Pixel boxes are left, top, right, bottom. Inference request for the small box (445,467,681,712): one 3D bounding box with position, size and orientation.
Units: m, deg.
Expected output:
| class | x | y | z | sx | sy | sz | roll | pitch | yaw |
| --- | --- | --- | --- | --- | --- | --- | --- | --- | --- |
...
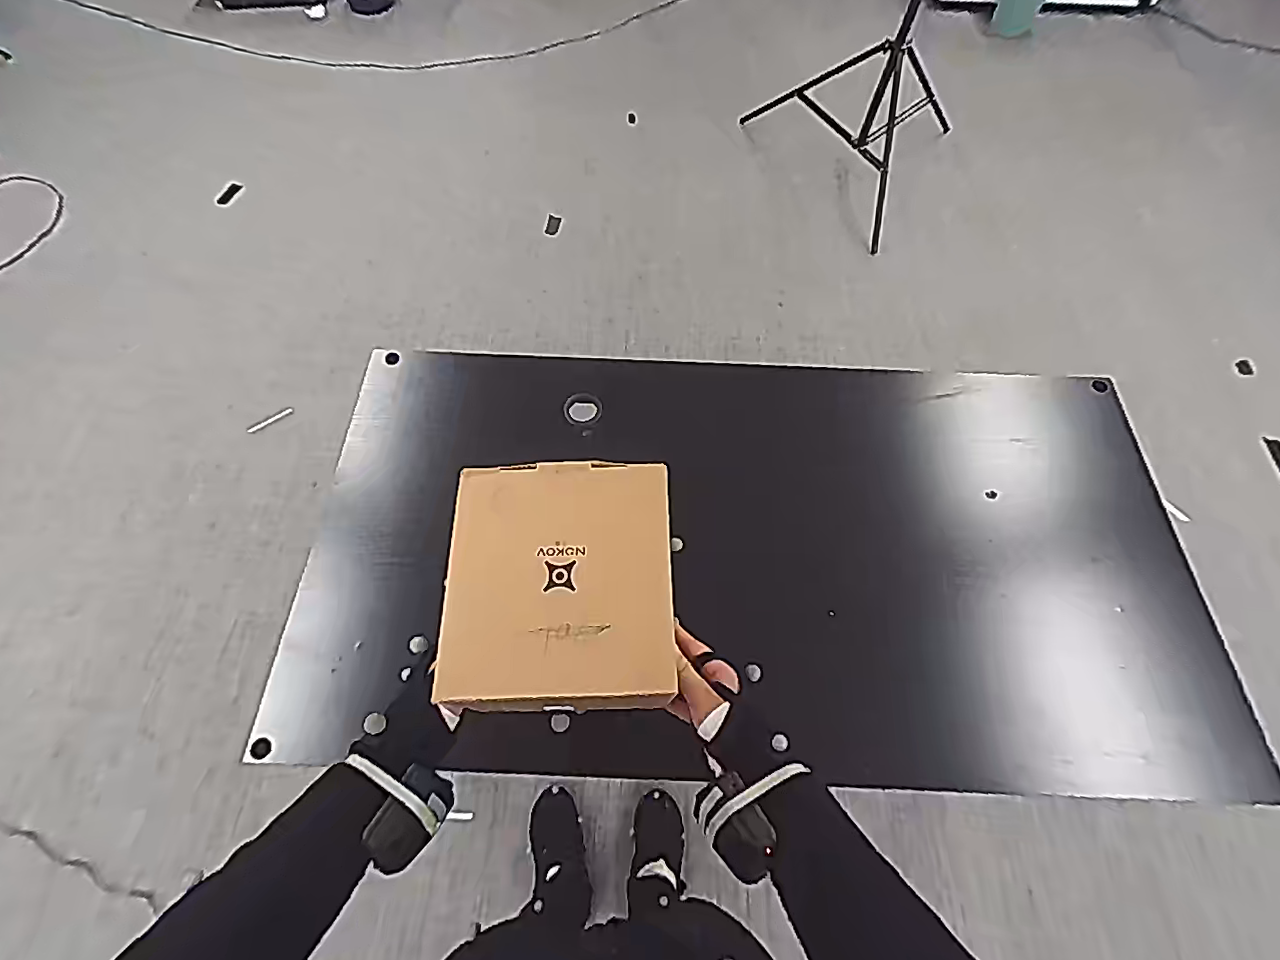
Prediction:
| class | x | y | z | sx | sy | sz | roll | pitch | yaw |
| --- | --- | --- | --- | --- | --- | --- | --- | --- | --- |
| small box | -0.056 | 0.104 | 0.479 | 0.168 | 0.176 | 0.179 | -3 | 65 | -1 |
